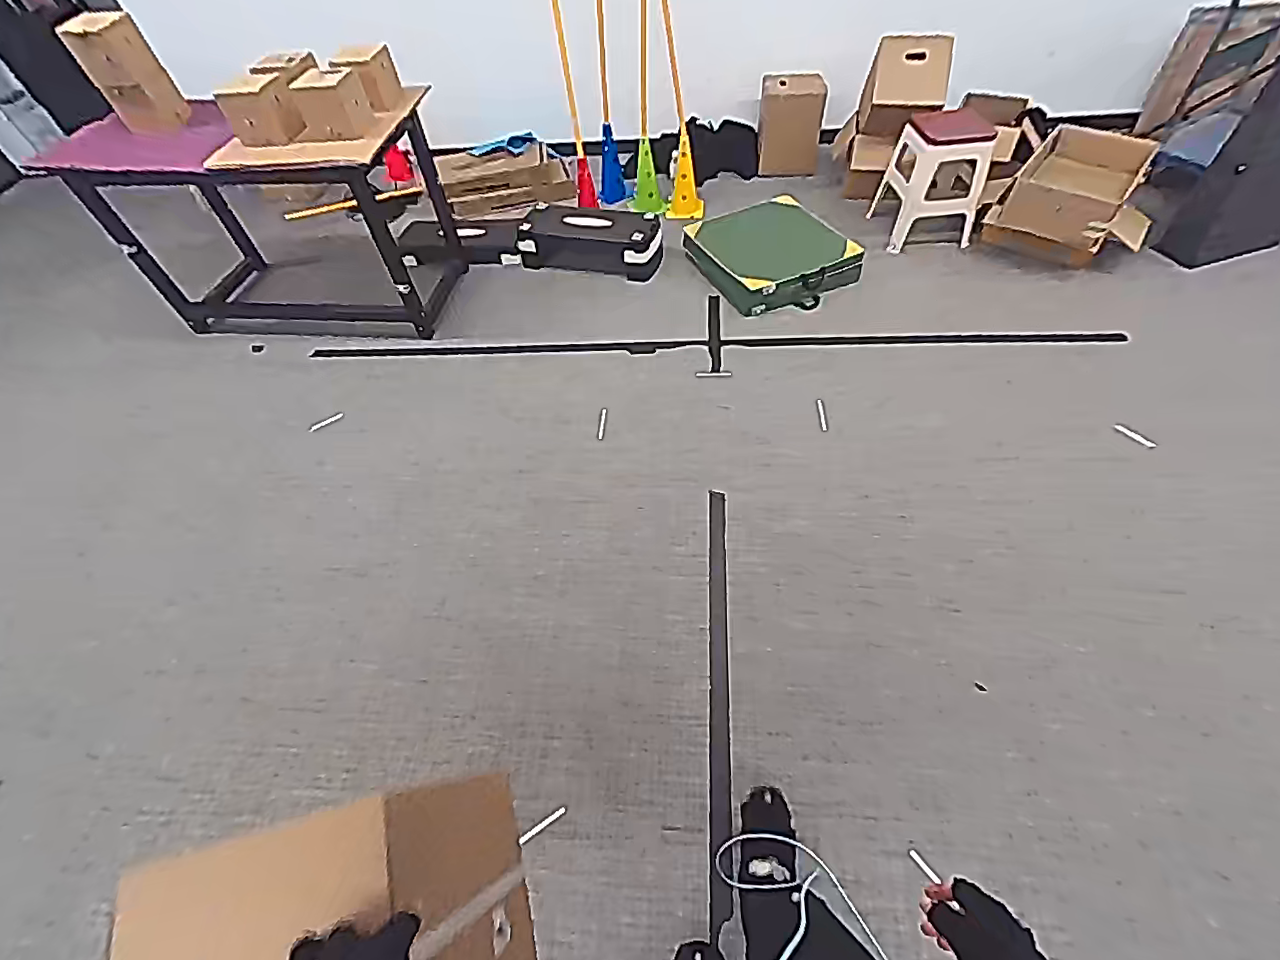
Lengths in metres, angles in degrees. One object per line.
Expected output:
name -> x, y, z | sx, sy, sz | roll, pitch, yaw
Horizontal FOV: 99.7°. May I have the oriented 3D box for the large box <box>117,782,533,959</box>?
large box -> -0.372, 0.638, 0.721 | 0.320, 0.408, 0.320 | -18, 64, -1
